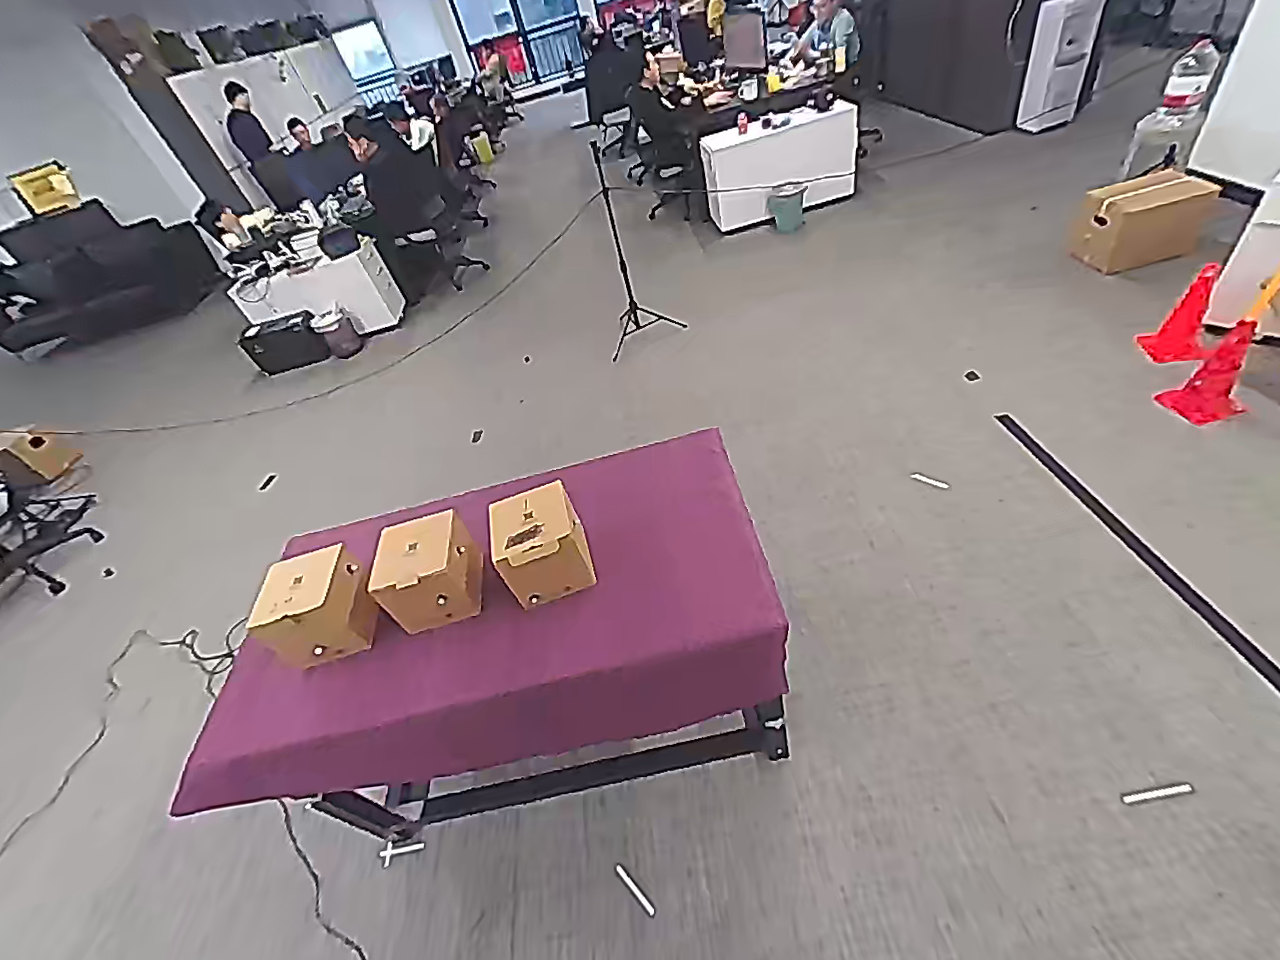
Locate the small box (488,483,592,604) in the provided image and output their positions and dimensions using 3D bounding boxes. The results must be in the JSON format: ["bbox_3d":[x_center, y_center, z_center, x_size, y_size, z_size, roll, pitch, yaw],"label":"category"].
[{"bbox_3d":[-0.213,0.143,1.162,0.168,0.176,0.179,-20,42,-2],"label":"small box"}]

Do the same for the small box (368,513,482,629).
[{"bbox_3d":[-0.457,0.206,1.182,0.168,0.176,0.179,-16,42,2],"label":"small box"}]

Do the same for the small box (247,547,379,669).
[{"bbox_3d":[-0.696,0.281,1.182,0.168,0.176,0.179,-18,43,1],"label":"small box"}]
